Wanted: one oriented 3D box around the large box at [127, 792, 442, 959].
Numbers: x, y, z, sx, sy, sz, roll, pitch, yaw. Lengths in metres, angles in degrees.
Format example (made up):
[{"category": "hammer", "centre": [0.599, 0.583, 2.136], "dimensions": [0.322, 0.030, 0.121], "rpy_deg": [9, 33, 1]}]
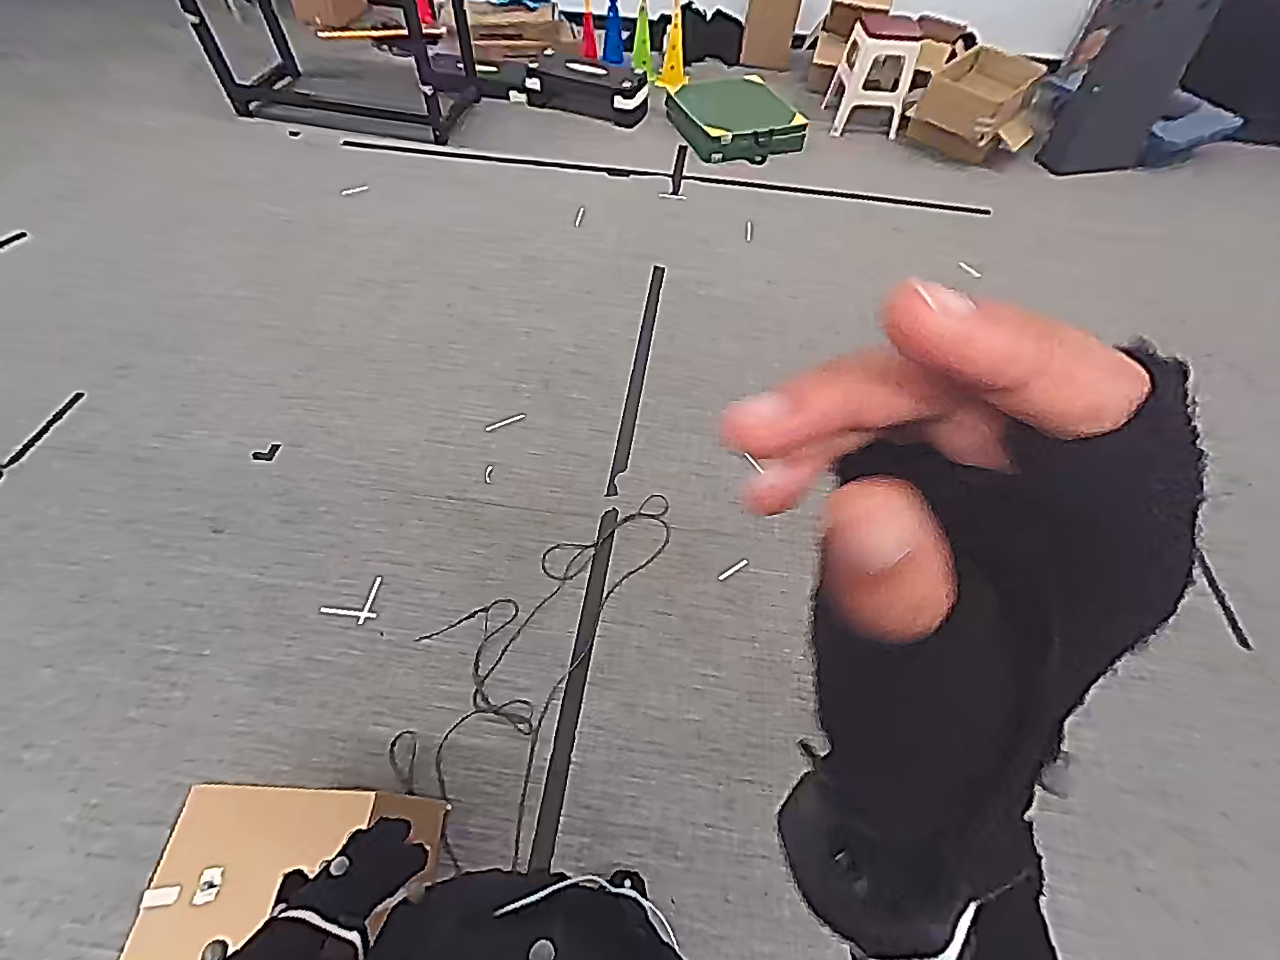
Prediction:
[{"category": "large box", "centre": [-0.604, 0.756, 0.988], "dimensions": [0.320, 0.408, 0.320], "rpy_deg": [3, 58, 1]}]
